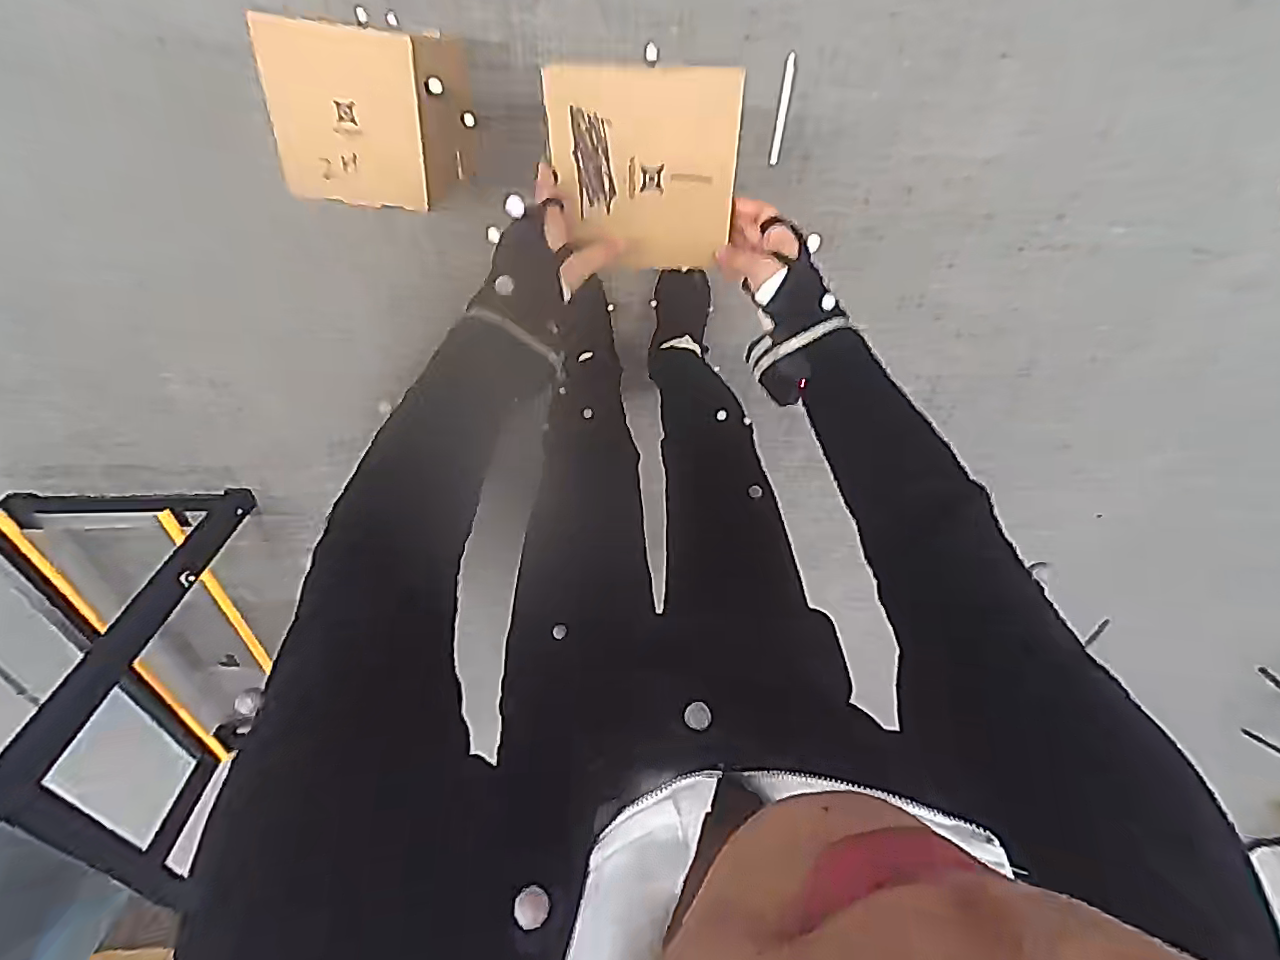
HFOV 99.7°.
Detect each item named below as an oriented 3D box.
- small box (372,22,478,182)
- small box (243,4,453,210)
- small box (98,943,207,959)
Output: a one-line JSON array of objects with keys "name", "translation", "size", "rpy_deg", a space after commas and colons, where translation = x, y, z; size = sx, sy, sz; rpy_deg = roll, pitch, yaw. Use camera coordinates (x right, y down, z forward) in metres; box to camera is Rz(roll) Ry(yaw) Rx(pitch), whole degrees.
[{"name": "small box", "translation": [-0.347, -0.560, 0.799], "size": [0.168, 0.176, 0.179], "rpy_deg": [0, 130, -3]}, {"name": "small box", "translation": [-0.338, -0.457, 0.669], "size": [0.168, 0.176, 0.179], "rpy_deg": [4, 129, -6]}, {"name": "small box", "translation": [-1.149, 1.180, 1.224], "size": [0.179, 0.176, 0.168], "rpy_deg": [-5, 130, 0]}]
